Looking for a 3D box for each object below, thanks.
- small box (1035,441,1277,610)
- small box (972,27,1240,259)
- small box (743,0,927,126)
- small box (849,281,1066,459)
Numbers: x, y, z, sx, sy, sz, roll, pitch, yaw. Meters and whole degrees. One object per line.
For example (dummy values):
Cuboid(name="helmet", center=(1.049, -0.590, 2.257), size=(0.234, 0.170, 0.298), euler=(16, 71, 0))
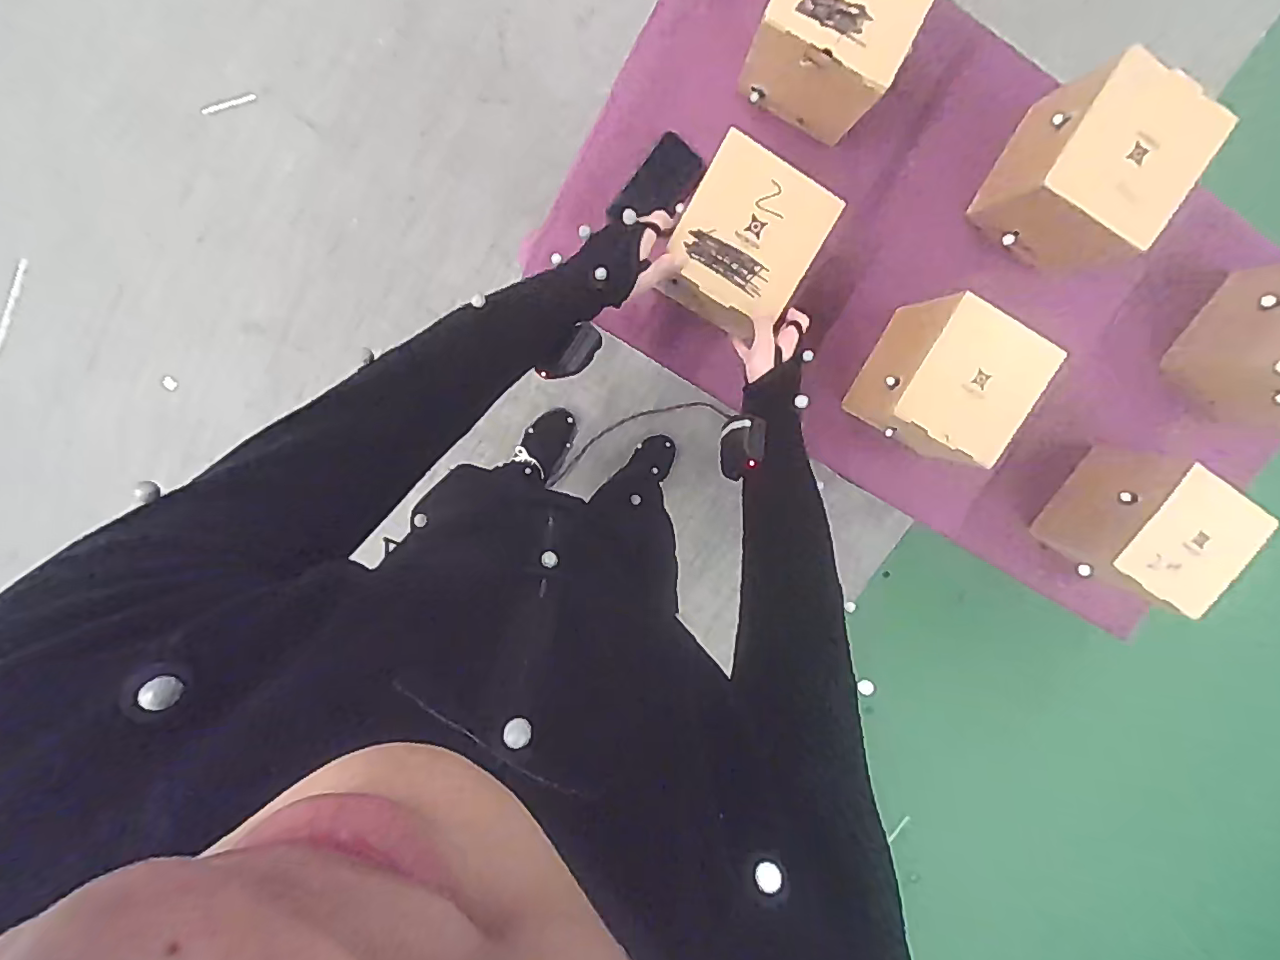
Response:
Cuboid(name="small box", center=(0.768, 0.058, 0.829), size=(0.168, 0.176, 0.179), euler=(32, 100, -7))
Cuboid(name="small box", center=(0.593, -0.424, 0.717), size=(0.168, 0.176, 0.179), euler=(29, 101, -7))
Cuboid(name="small box", center=(0.243, -0.585, 0.665), size=(0.168, 0.176, 0.179), euler=(25, 100, -8))
Cuboid(name="small box", center=(0.433, -0.155, 0.772), size=(0.168, 0.176, 0.179), euler=(27, 100, -8))
